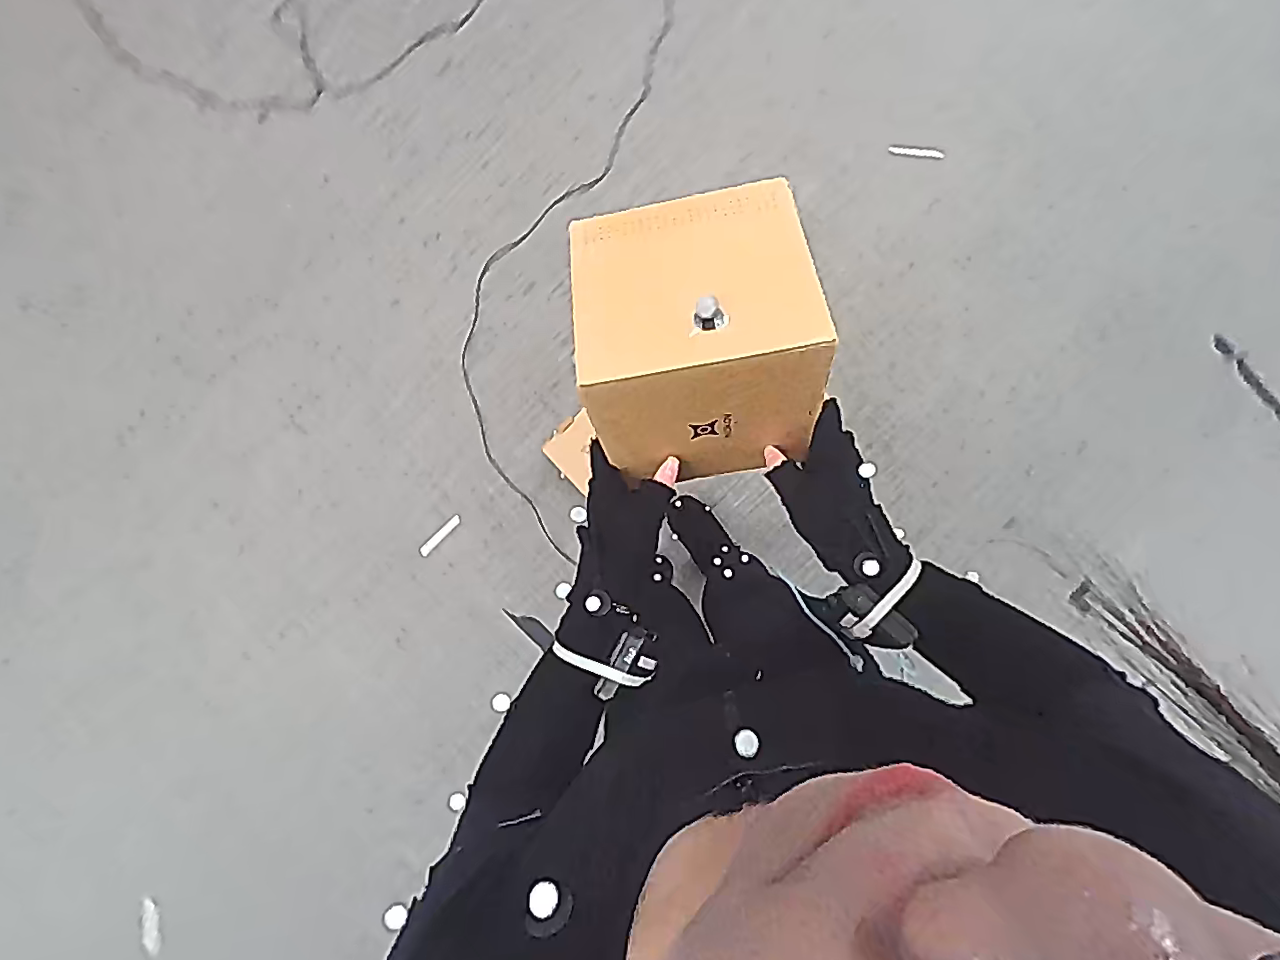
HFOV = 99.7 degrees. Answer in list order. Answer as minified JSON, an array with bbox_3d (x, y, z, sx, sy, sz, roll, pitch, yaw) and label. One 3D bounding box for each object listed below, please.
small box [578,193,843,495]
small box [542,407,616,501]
[{"bbox_3d":[0.049,-0.107,0.459,0.179,0.168,0.176,-9,64,5],"label":"small box"},{"bbox_3d":[-0.119,-0.067,1.357,0.168,0.176,0.179,-43,93,1],"label":"small box"}]
